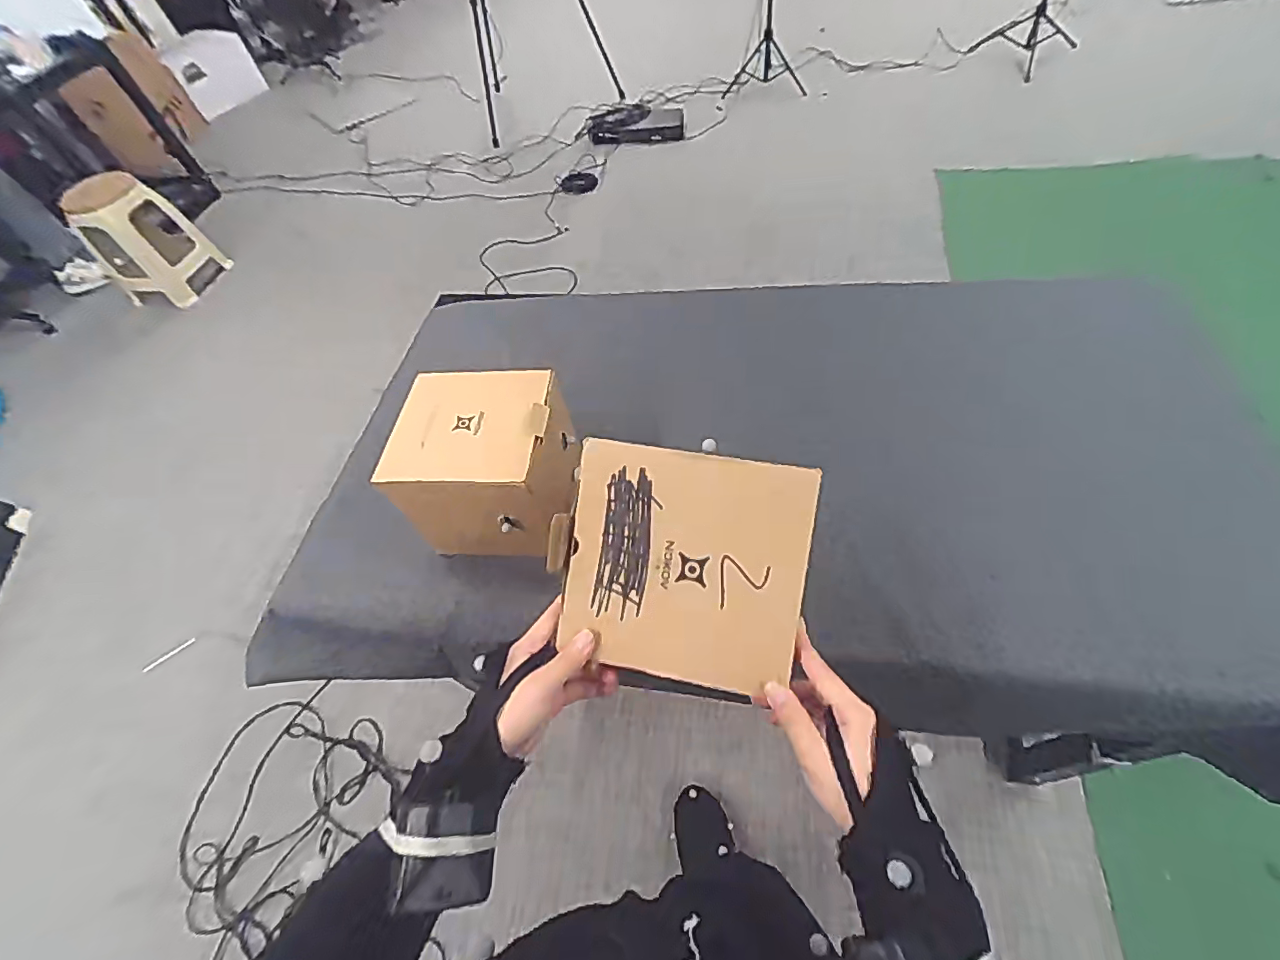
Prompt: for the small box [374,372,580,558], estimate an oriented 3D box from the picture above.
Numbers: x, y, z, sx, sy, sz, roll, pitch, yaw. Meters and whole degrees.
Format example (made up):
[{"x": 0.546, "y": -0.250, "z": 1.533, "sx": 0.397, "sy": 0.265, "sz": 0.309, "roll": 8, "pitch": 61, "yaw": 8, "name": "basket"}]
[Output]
[{"x": -0.181, "y": -0.014, "z": 0.668, "sx": 0.179, "sy": 0.176, "sz": 0.168, "roll": -1, "pitch": 54, "yaw": 8, "name": "small box"}]
